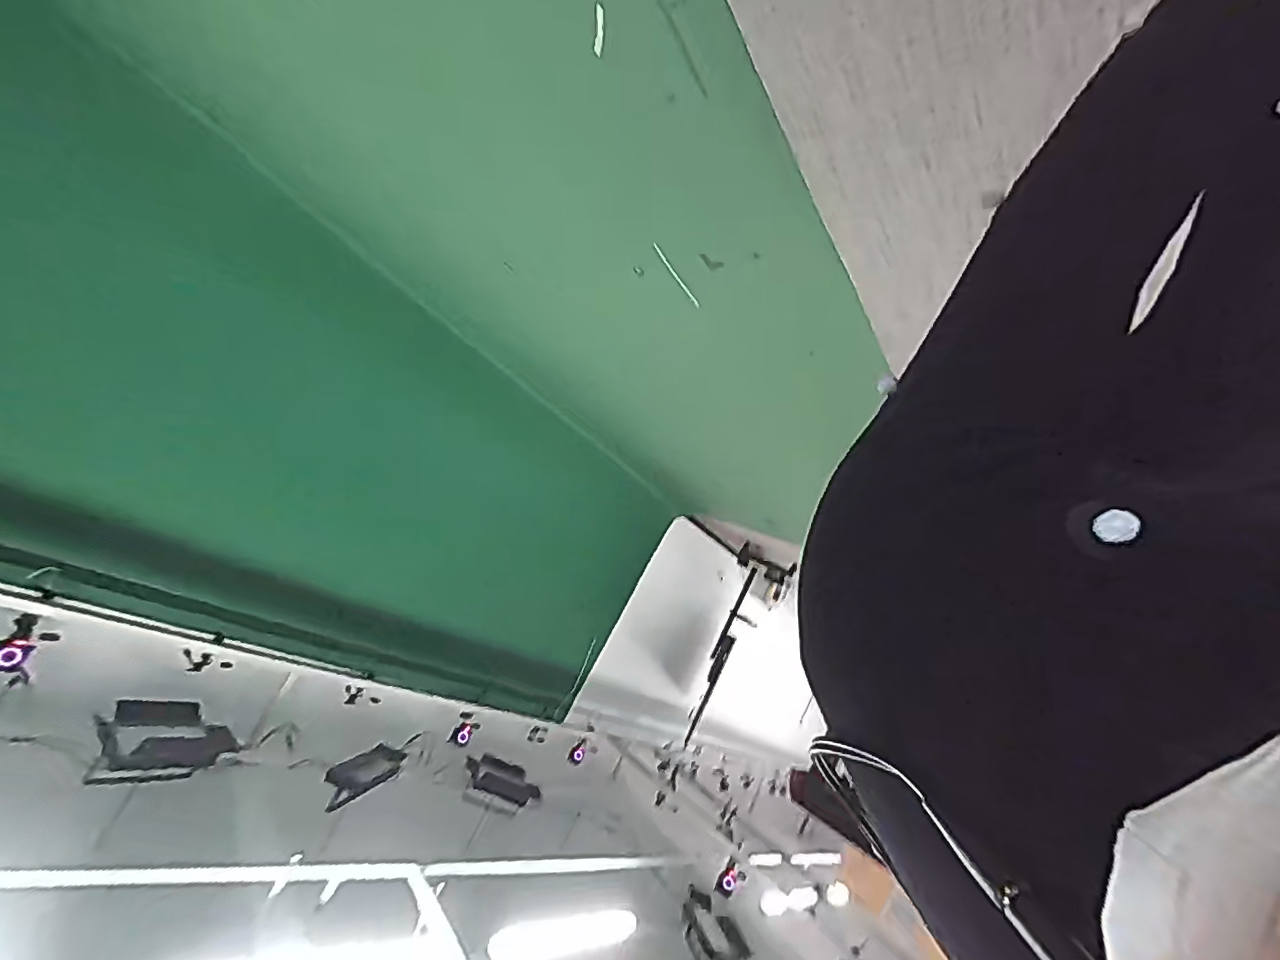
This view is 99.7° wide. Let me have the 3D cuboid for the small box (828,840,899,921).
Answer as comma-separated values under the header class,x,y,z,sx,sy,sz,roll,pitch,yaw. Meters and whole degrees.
class,x,y,z,sx,sy,sz,roll,pitch,yaw
small box,0.804,1.426,1.934,0.168,0.176,0.179,20,166,42
